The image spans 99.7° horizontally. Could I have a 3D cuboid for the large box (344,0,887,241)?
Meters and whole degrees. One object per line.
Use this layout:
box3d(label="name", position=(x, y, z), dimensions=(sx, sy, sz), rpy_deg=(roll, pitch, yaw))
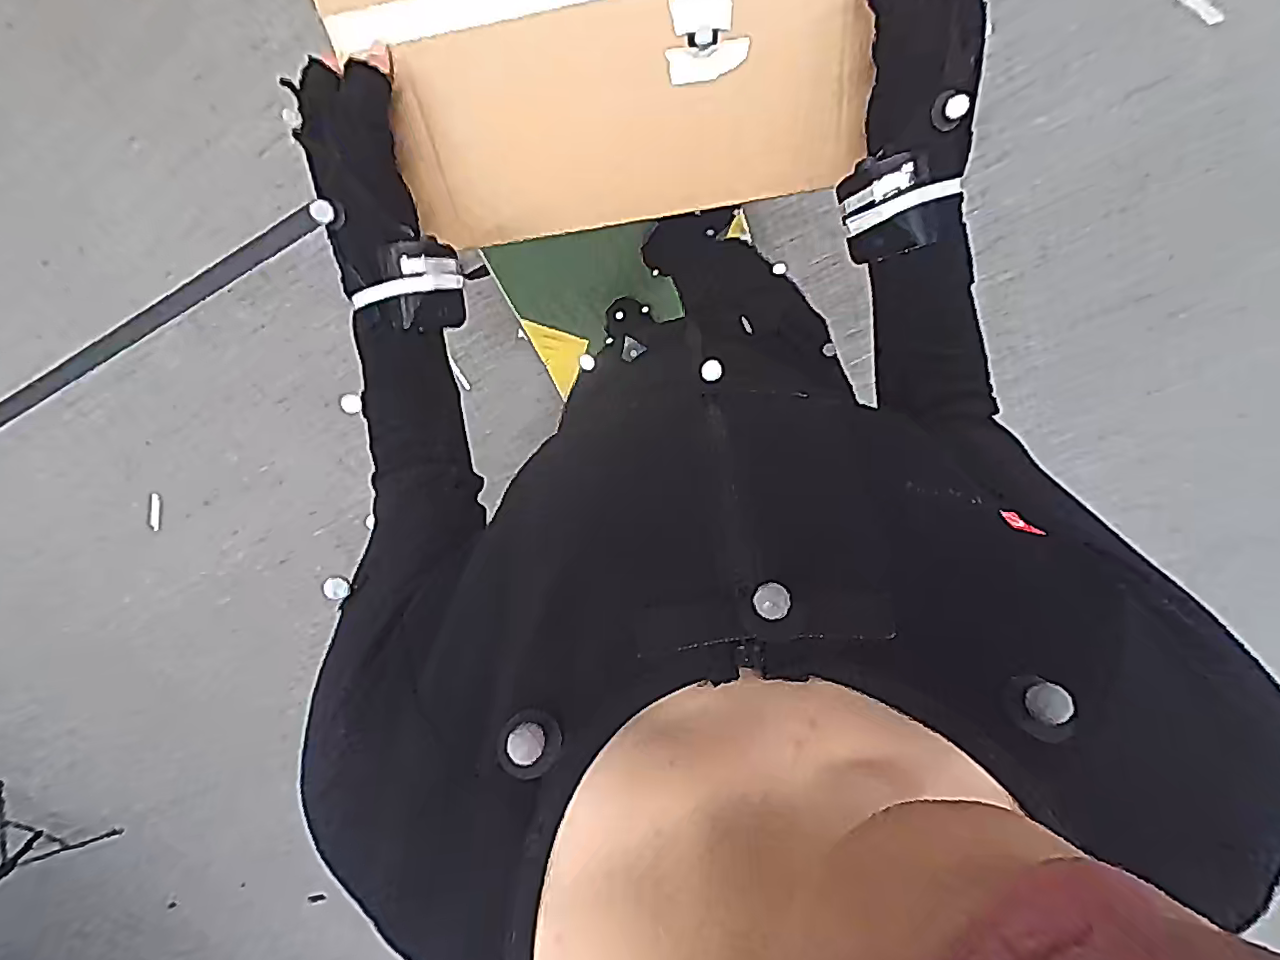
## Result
box3d(label="large box", position=(-0.022, -0.448, 0.511), dimensions=(0.408, 0.320, 0.320), rpy_deg=(-7, 125, 5))
